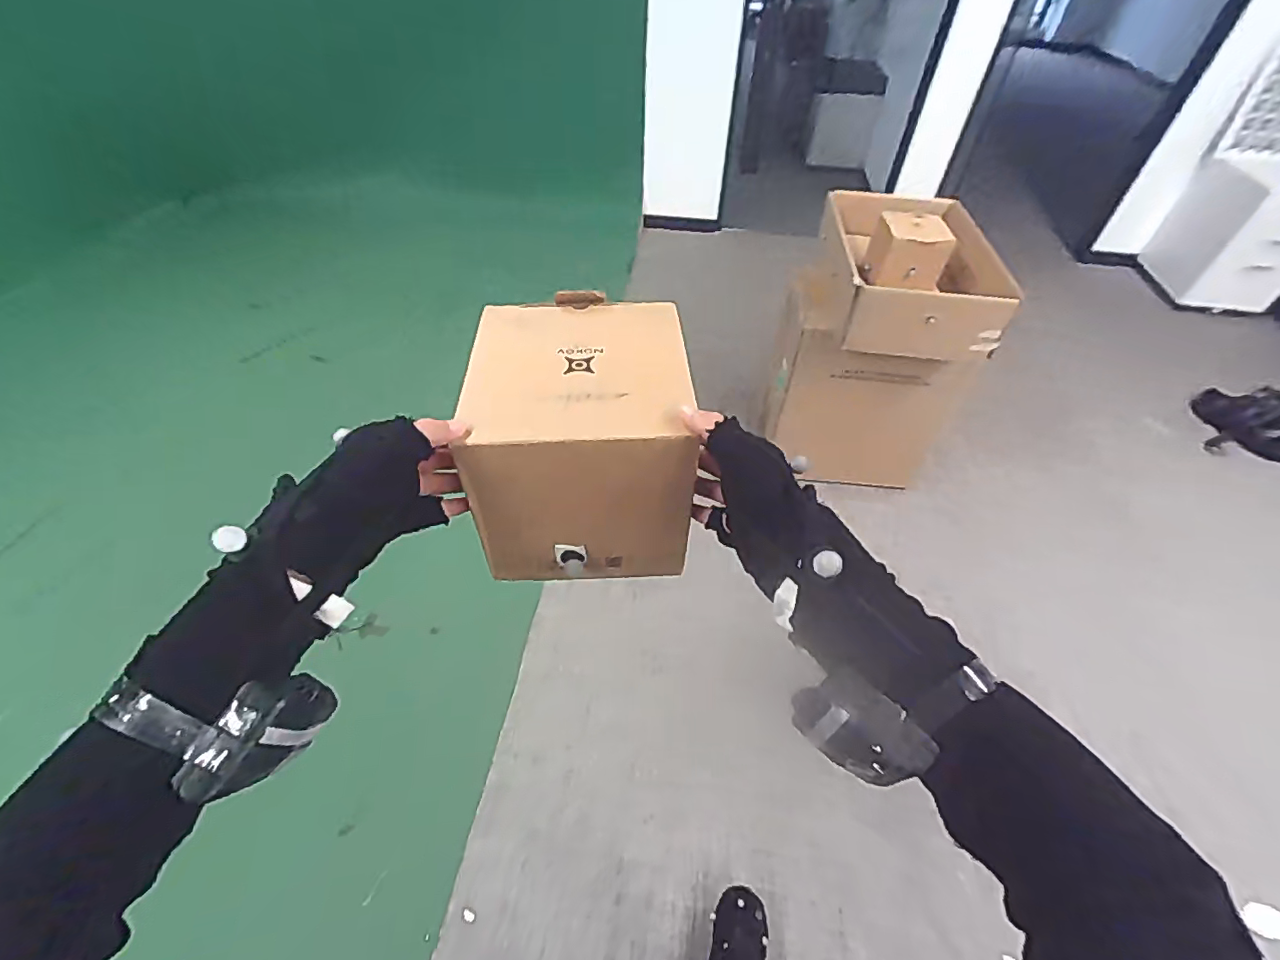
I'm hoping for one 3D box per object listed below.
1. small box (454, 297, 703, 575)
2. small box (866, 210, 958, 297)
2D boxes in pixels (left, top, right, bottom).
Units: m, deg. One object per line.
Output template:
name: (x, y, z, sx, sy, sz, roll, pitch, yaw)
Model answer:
small box: (-0.044, -0.038, 0.465, 0.168, 0.176, 0.179, -1, 47, -2)
small box: (0.763, -0.640, 1.536, 0.168, 0.176, 0.179, 6, 49, 2)
